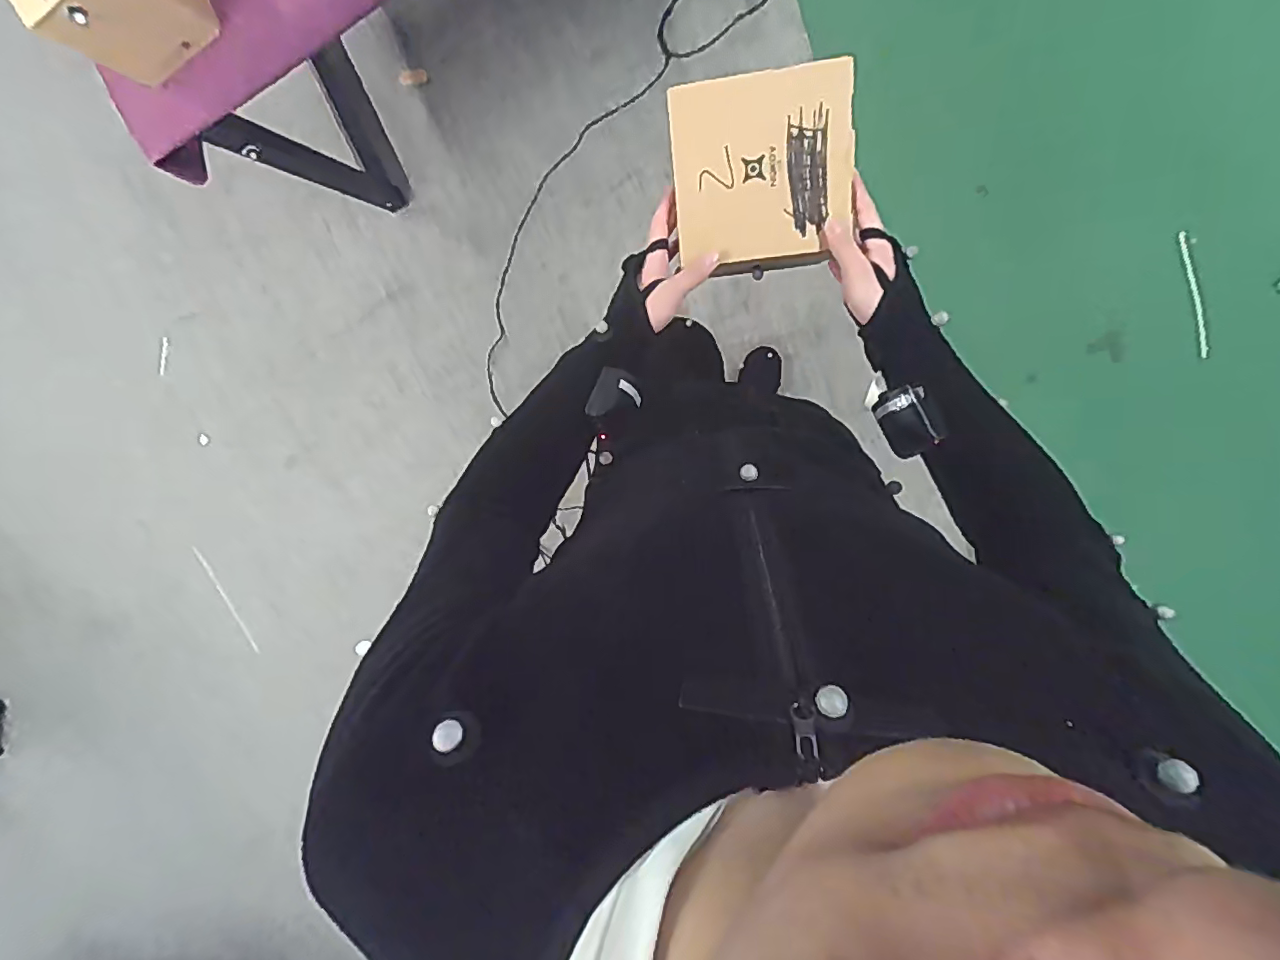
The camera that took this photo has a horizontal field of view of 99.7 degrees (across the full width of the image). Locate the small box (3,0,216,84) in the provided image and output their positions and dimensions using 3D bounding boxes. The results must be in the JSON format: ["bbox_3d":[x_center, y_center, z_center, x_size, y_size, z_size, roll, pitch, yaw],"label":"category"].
[{"bbox_3d":[-0.765,-0.719,0.761,0.168,0.176,0.179,-22,98,14],"label":"small box"}]
